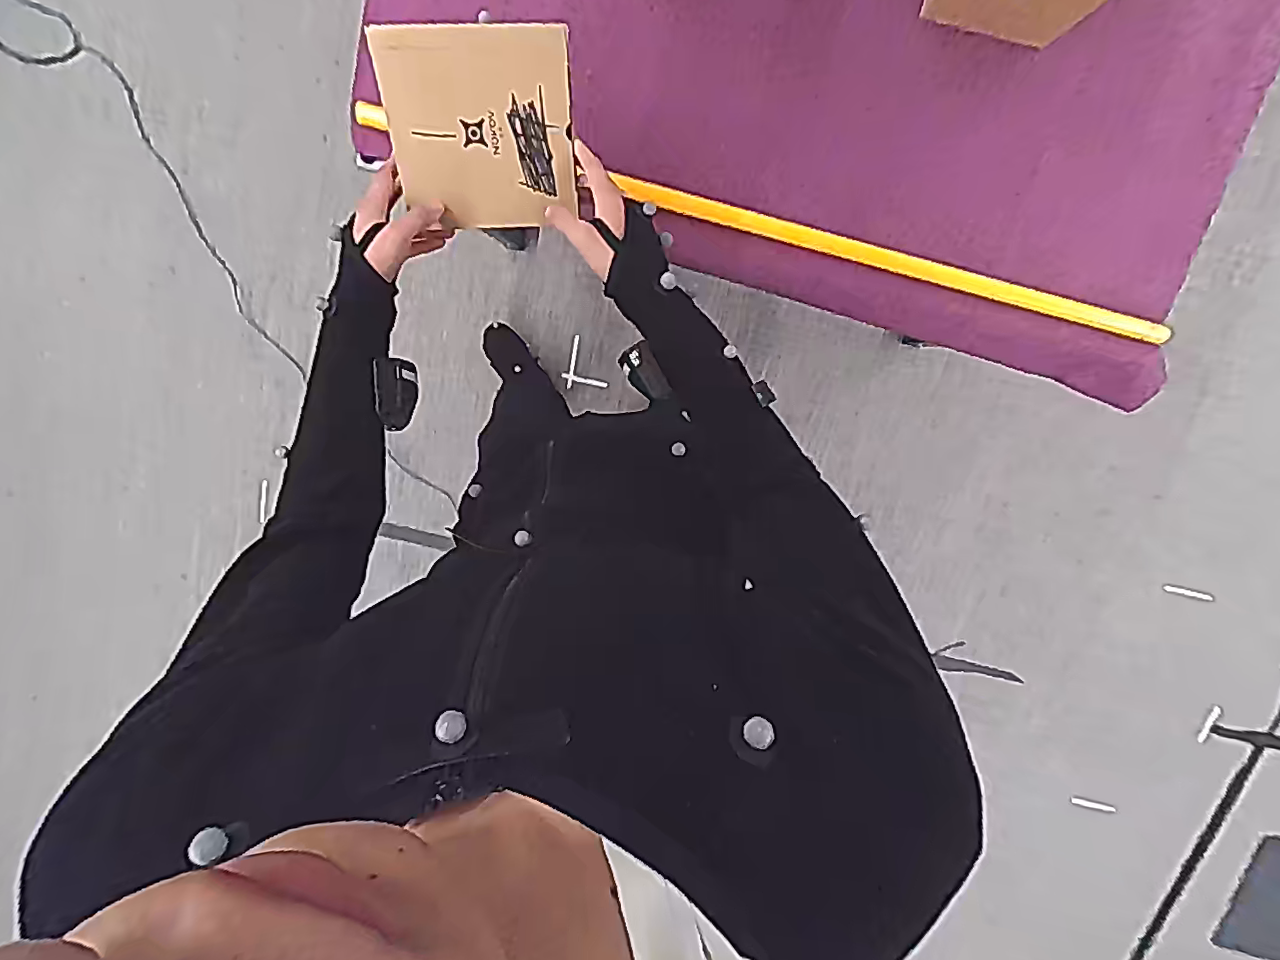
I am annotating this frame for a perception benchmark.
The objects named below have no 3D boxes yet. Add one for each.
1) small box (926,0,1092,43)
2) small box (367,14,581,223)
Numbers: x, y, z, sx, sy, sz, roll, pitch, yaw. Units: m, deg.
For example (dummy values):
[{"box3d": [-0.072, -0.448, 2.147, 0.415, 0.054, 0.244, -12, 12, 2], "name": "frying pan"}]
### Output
[{"box3d": [0.471, -0.654, 0.625, 0.179, 0.176, 0.168, 14, 105, -2], "name": "small box"}, {"box3d": [-0.158, -0.379, 0.578, 0.179, 0.176, 0.168, -4, 124, -5], "name": "small box"}]
